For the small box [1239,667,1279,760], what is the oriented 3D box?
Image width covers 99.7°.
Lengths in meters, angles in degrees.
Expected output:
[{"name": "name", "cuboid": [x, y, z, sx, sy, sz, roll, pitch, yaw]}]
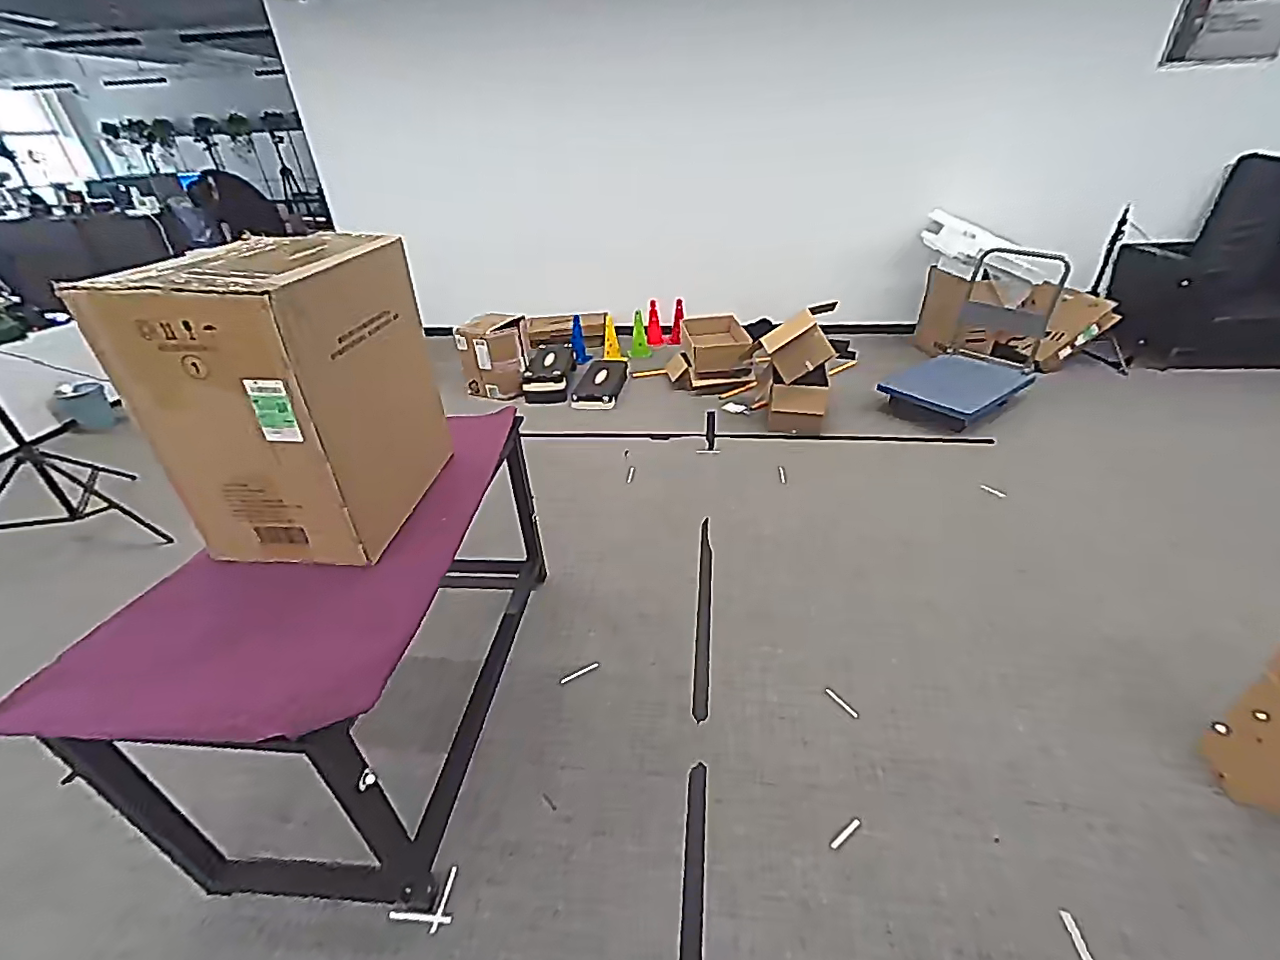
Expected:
[{"name": "small box", "cuboid": [1.673, 0.598, 1.349, 0.179, 0.176, 0.168, 6, 33, 12]}]
